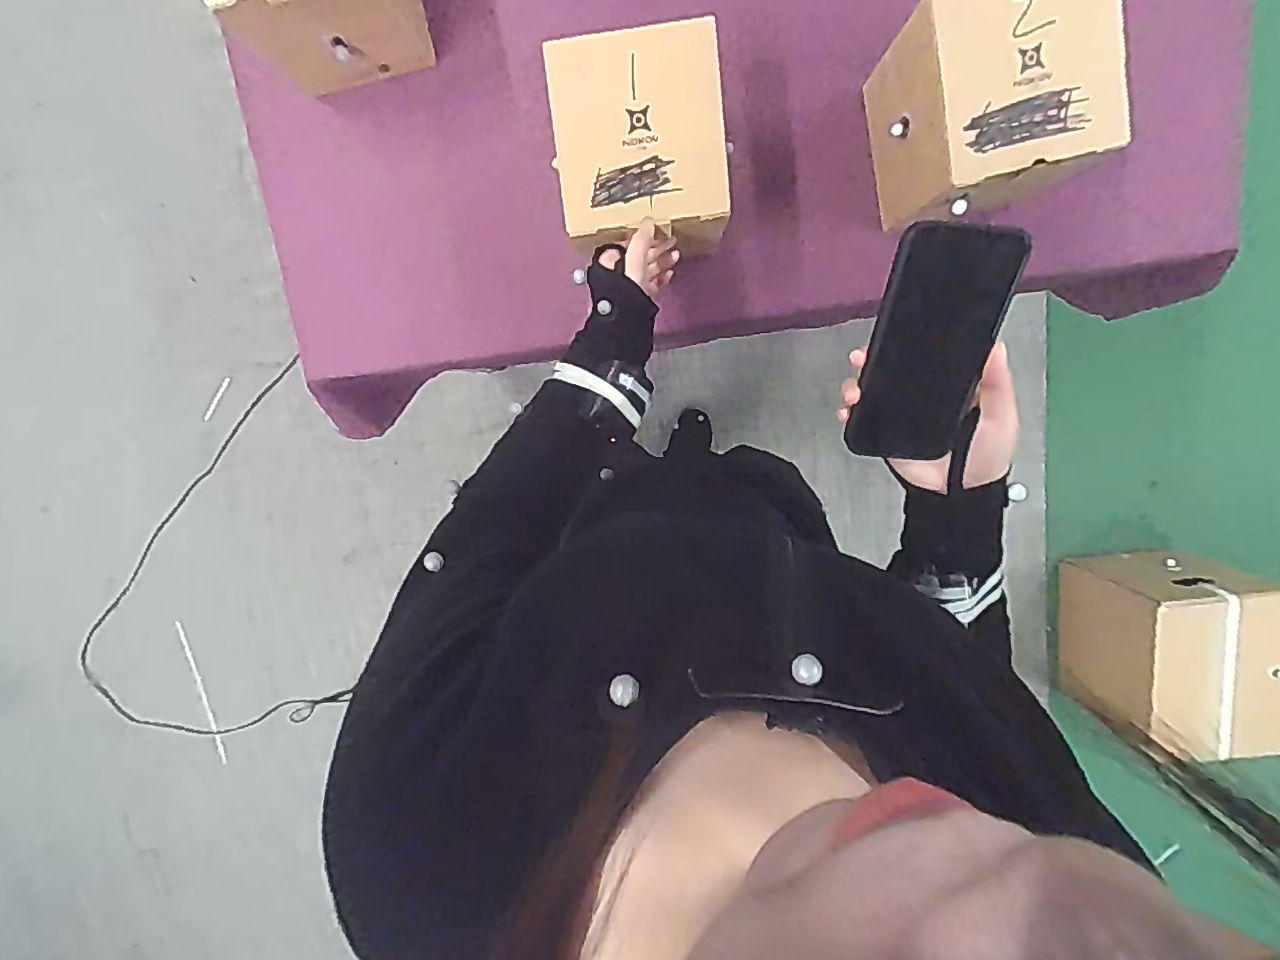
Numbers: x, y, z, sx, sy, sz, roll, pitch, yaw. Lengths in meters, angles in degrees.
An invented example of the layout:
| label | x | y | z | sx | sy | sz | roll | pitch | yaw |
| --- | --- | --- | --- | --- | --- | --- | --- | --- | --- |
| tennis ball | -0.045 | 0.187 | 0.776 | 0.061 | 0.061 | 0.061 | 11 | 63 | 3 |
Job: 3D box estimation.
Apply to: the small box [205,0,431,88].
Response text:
| label | x | y | z | sx | sy | sz | roll | pitch | yaw |
| --- | --- | --- | --- | --- | --- | --- | --- | --- | --- |
| small box | -0.347 | -0.556 | 0.575 | 0.168 | 0.176 | 0.179 | -12 | 101 | 3 |

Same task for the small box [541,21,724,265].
| label | x | y | z | sx | sy | sz | roll | pitch | yaw |
| --- | --- | --- | --- | --- | --- | --- | --- | --- | --- |
| small box | -0.001 | -0.348 | 0.600 | 0.168 | 0.176 | 0.179 | -6 | 99 | 3 |
